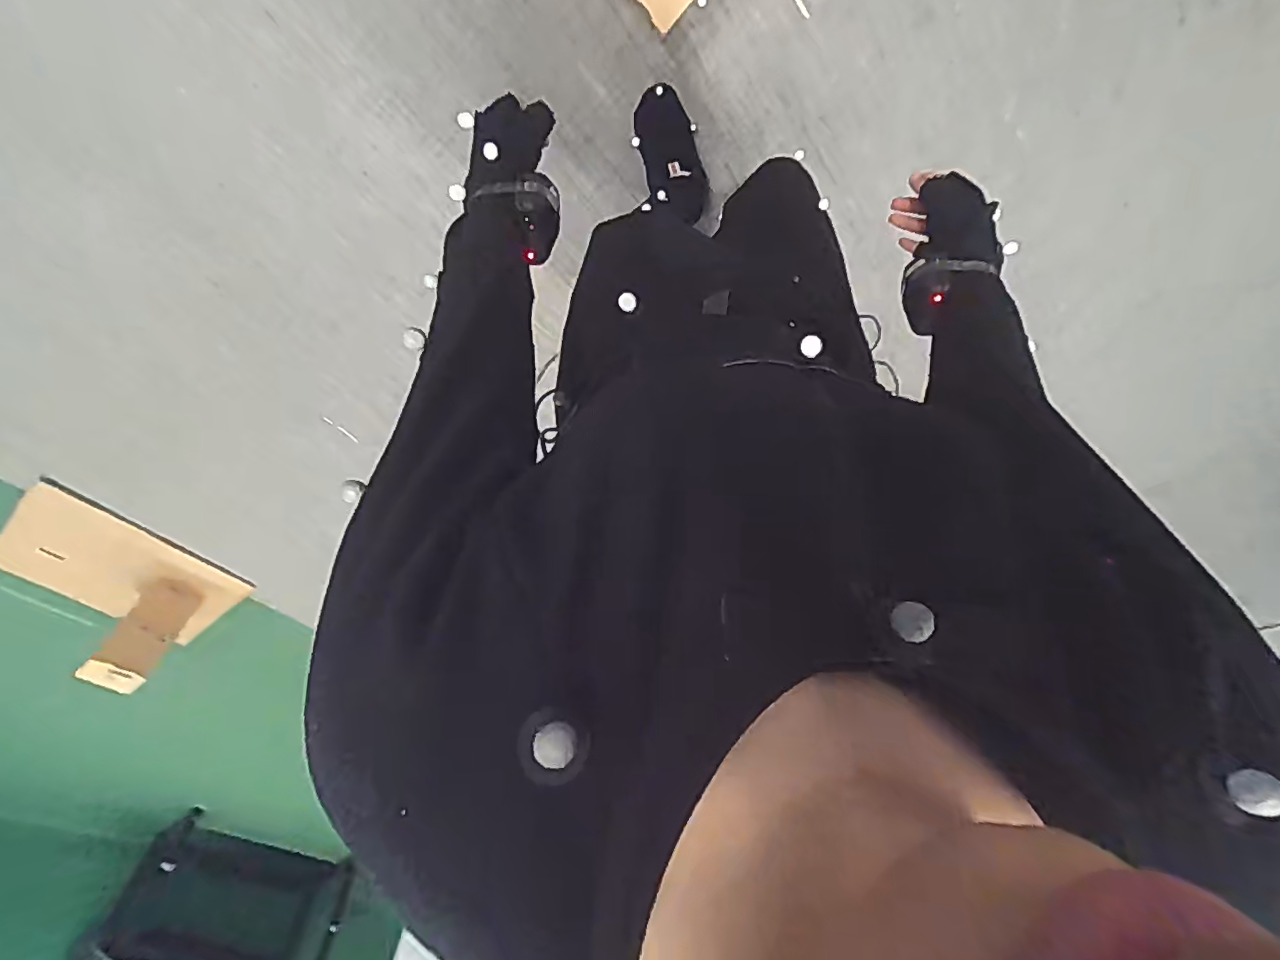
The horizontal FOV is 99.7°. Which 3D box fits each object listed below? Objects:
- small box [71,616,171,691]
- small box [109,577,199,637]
[{"bbox_3d":[-1.794,0.600,1.880,0.179,0.176,0.168,-31,124,24],"label":"small box"},{"bbox_3d":[-1.796,0.493,2.004,0.179,0.176,0.168,-33,124,24],"label":"small box"}]
